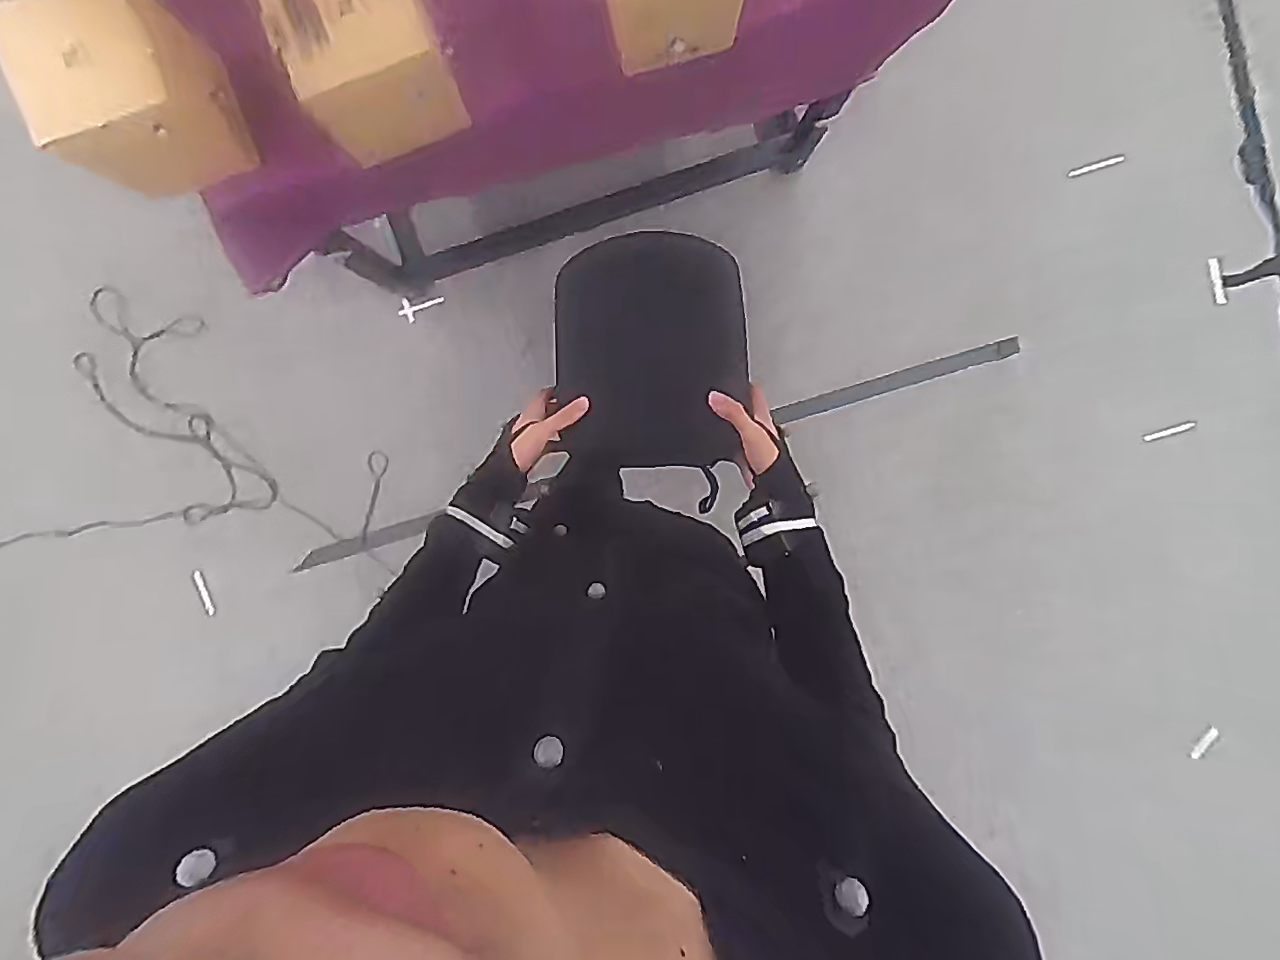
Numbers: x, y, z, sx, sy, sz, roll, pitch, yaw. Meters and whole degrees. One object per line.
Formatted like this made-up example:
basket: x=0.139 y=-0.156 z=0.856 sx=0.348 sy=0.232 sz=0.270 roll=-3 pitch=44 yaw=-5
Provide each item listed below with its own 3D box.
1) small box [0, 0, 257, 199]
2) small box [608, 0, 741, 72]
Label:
small box: x=-0.677 y=-0.513 z=0.729 sx=0.179 sy=0.176 sz=0.168 roll=-19 pitch=96 yaw=0
small box: x=0.036 y=-0.699 z=0.715 sx=0.168 sy=0.176 sz=0.179 roll=-15 pitch=97 yaw=2
